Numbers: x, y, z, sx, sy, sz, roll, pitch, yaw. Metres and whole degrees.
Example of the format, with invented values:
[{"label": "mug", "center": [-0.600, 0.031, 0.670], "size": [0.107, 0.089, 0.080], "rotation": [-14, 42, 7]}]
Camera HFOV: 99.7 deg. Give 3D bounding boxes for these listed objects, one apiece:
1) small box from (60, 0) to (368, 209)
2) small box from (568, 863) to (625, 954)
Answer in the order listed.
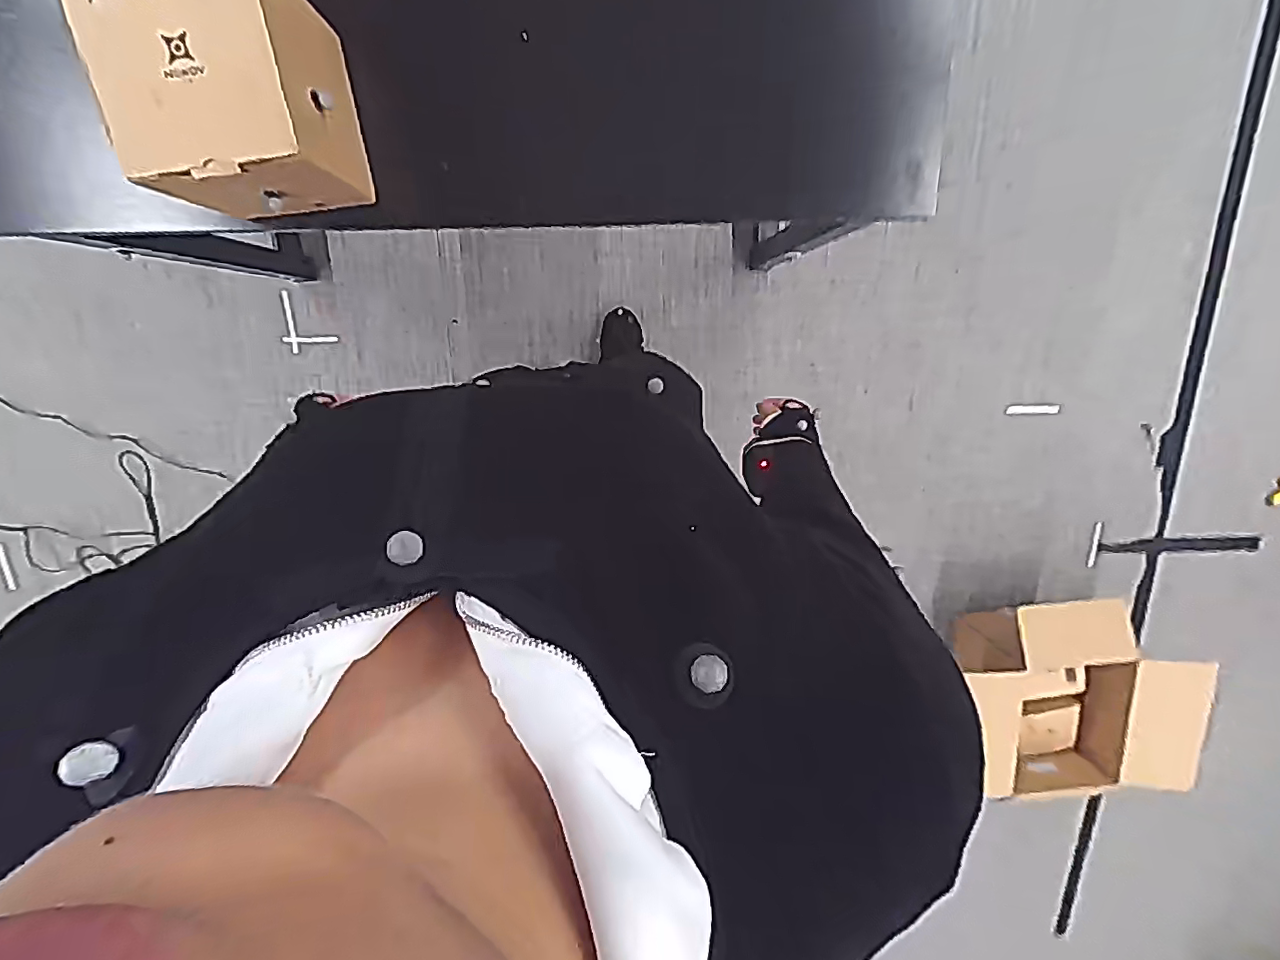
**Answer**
[{"label": "small box", "center": [-0.407, -0.389, 0.550], "size": [0.168, 0.176, 0.179], "rotation": [-8, 105, -1]}, {"label": "small box", "center": [-0.137, 1.363, 1.729], "size": [0.179, 0.176, 0.168], "rotation": [0, 102, -2]}]
